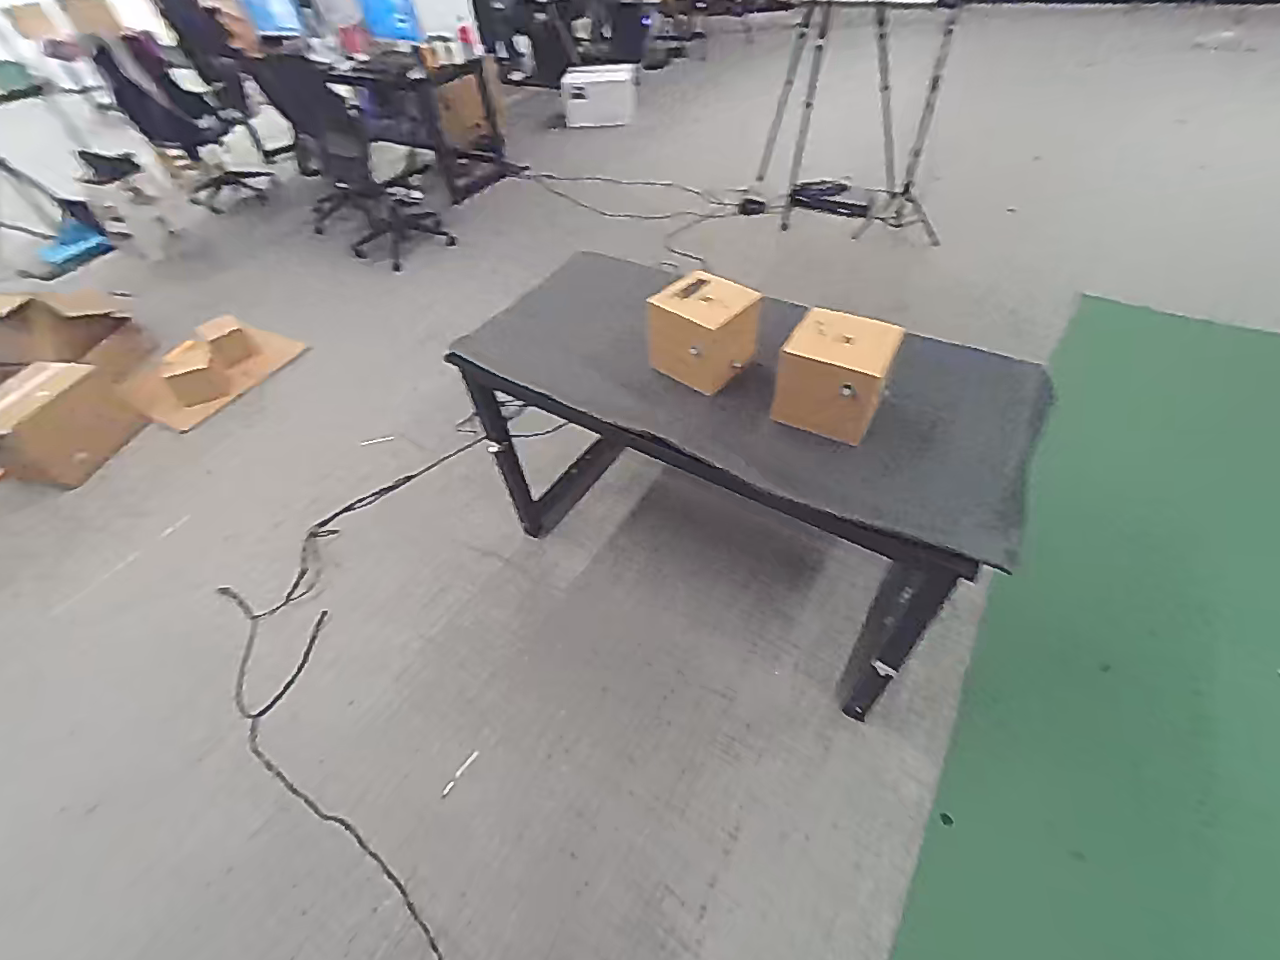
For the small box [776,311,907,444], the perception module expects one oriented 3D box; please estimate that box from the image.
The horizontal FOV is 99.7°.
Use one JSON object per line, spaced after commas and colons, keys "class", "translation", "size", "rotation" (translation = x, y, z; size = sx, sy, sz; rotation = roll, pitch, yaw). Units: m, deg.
{"class": "small box", "translation": [0.379, -0.193, 1.037], "size": [0.179, 0.176, 0.168], "rotation": [22, 53, 24]}
